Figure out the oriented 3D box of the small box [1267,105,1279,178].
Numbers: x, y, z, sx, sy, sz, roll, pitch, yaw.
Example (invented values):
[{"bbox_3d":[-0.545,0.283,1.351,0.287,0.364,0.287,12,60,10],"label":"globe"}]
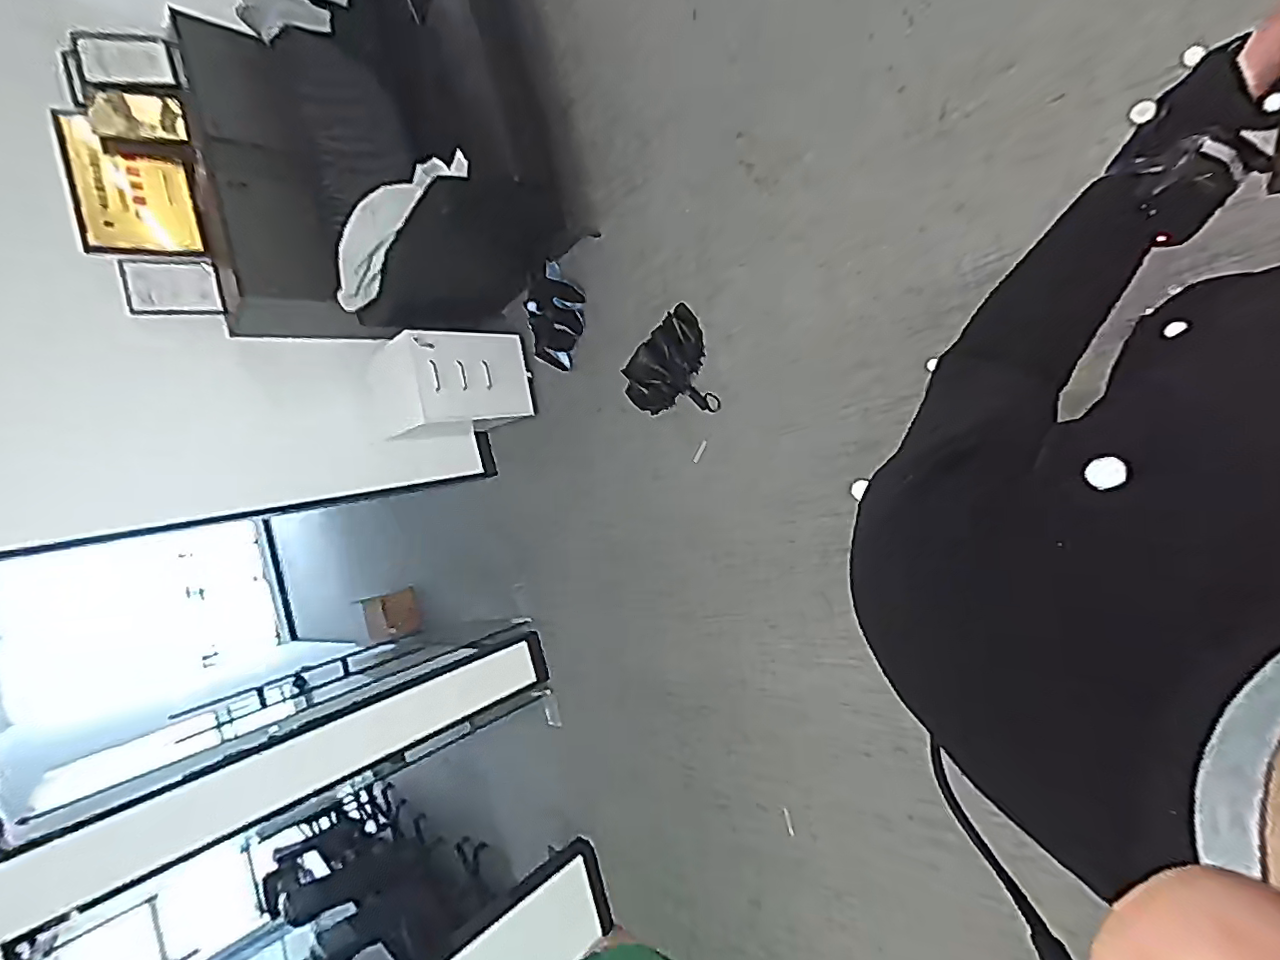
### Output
[{"bbox_3d":[0.632,-0.349,0.420,0.168,0.176,0.179,11,114,47],"label":"small box"}]
